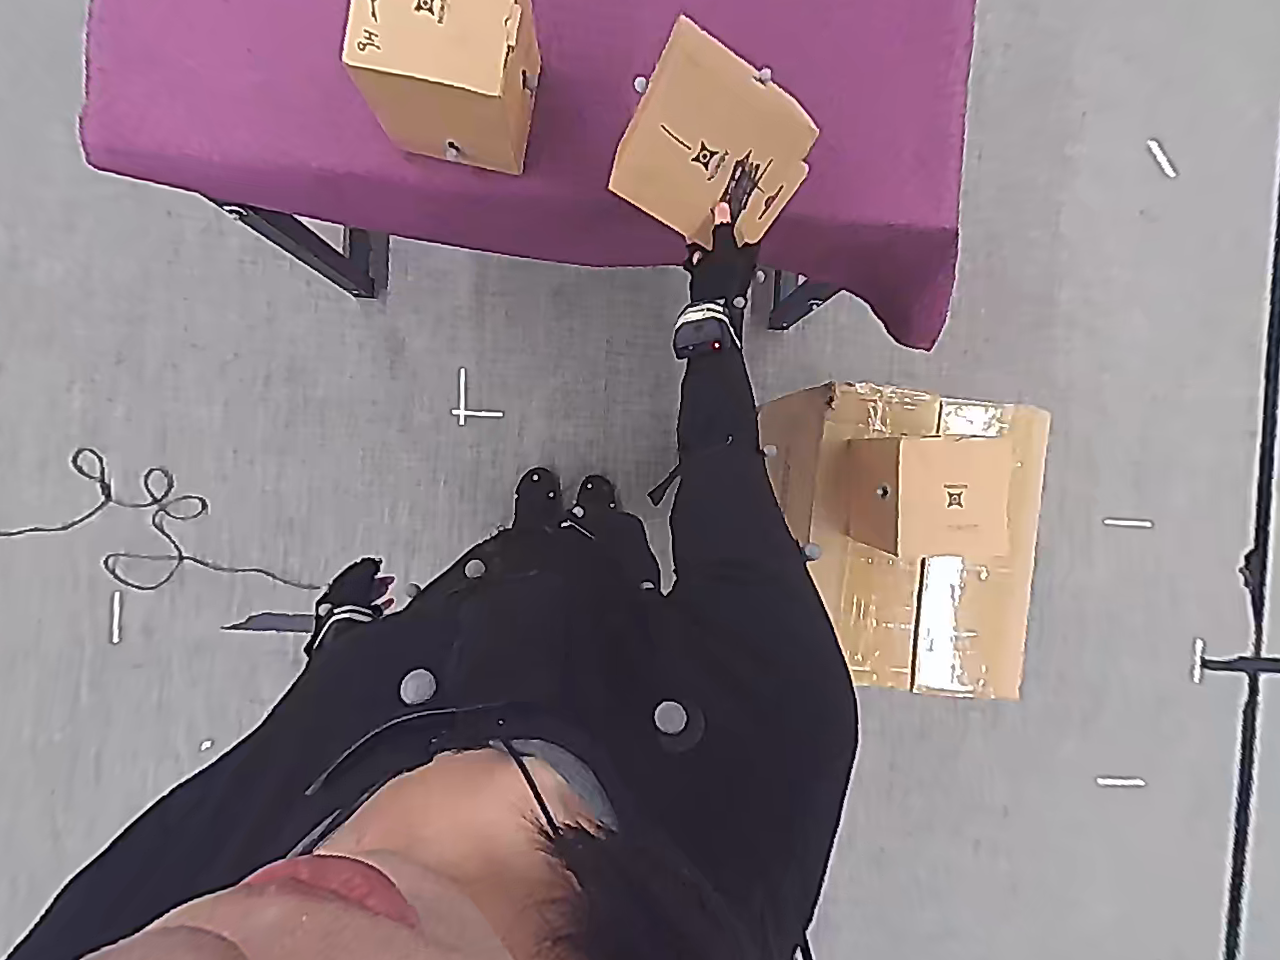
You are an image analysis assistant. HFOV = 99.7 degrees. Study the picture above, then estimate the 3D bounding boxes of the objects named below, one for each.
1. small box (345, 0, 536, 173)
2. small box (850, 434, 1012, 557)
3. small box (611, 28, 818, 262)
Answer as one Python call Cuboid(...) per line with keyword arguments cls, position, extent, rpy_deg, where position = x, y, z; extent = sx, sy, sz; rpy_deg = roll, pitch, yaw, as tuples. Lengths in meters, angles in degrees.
Cuboid(cls="small box", position=(-0.232, -0.519, 0.677), extent=(0.179, 0.176, 0.168), rpy_deg=(10, 90, -6))
Cuboid(cls="small box", position=(0.443, 0.020, 0.846), extent=(0.168, 0.176, 0.179), rpy_deg=(-1, 93, -2))
Cuboid(cls="small box", position=(0.083, -0.410, 0.660), extent=(0.179, 0.176, 0.168), rpy_deg=(25, 130, -20))
